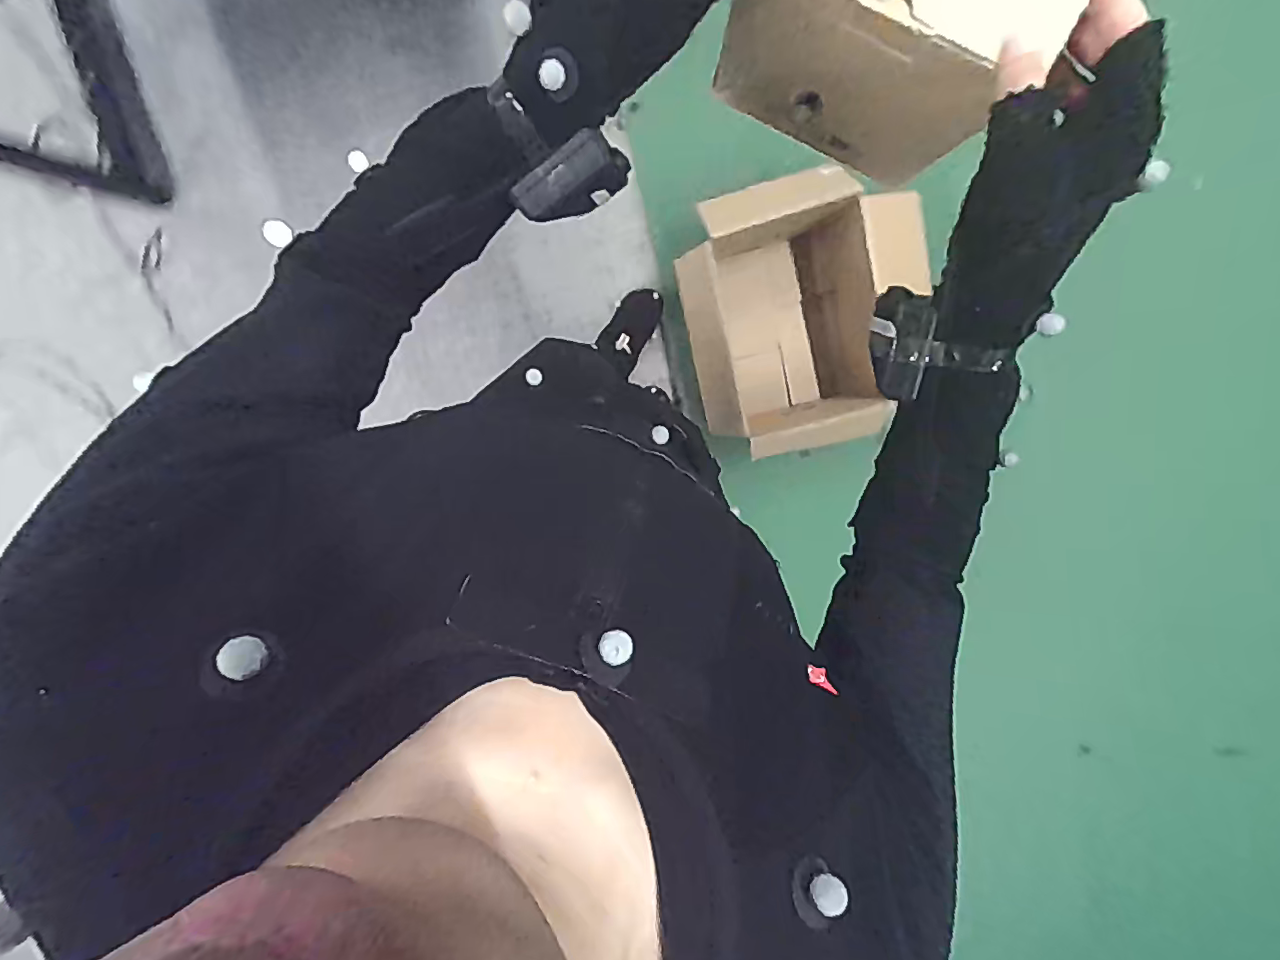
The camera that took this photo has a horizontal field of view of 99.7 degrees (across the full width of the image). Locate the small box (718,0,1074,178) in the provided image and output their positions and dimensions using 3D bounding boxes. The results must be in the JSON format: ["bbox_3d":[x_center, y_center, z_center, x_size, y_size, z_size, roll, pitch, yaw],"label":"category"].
[{"bbox_3d":[0.158,-0.325,0.329,0.168,0.176,0.179,23,104,-4],"label":"small box"}]
